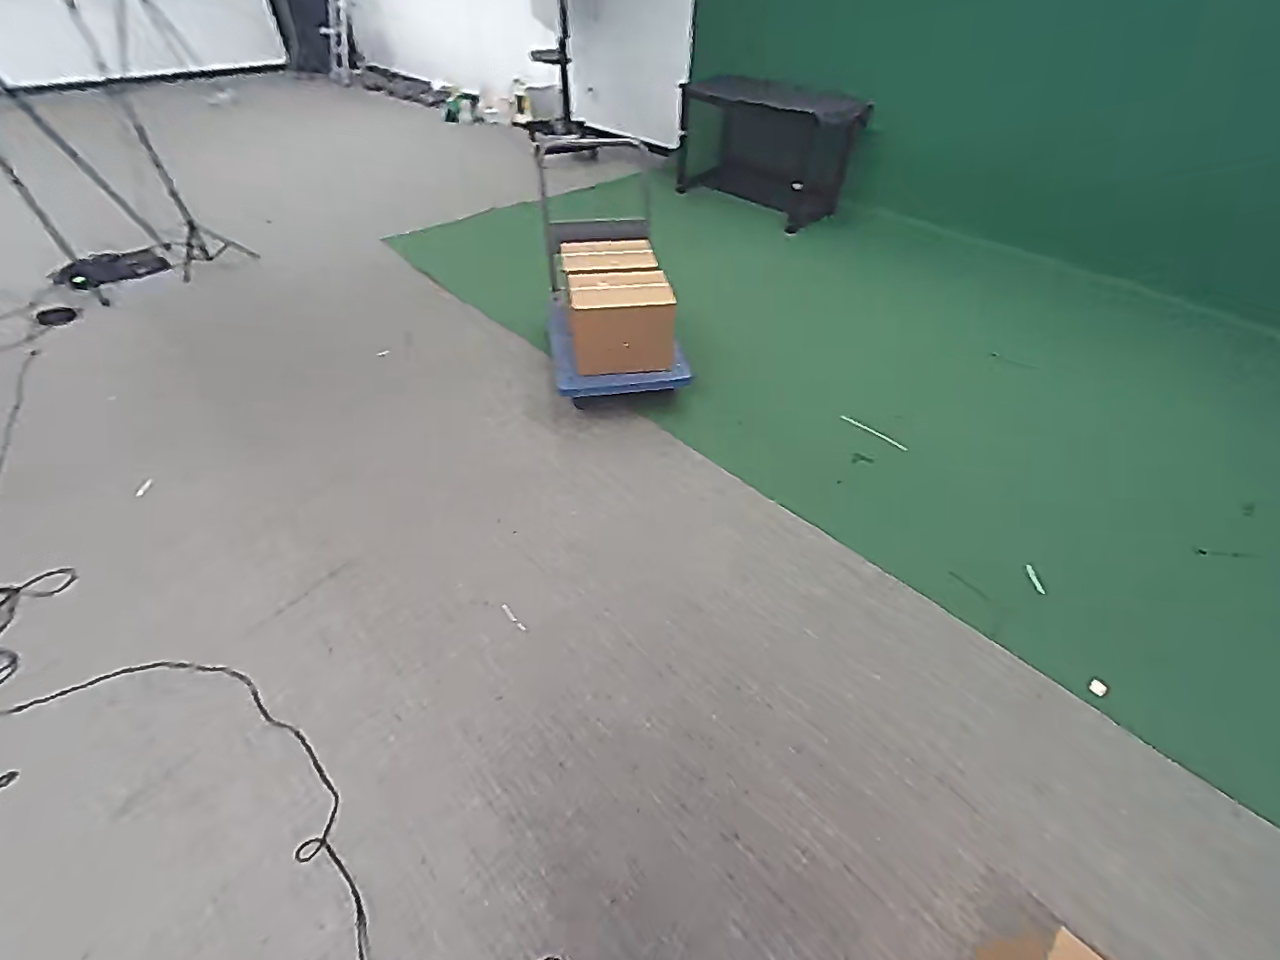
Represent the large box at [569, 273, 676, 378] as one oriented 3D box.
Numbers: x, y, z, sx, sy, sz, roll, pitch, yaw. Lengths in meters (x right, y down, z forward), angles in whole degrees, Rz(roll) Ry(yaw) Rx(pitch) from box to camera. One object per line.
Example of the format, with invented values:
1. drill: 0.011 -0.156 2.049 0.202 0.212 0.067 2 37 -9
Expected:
1. large box: -0.078 -0.656 2.298 0.408 0.320 0.320 -6 44 -6
